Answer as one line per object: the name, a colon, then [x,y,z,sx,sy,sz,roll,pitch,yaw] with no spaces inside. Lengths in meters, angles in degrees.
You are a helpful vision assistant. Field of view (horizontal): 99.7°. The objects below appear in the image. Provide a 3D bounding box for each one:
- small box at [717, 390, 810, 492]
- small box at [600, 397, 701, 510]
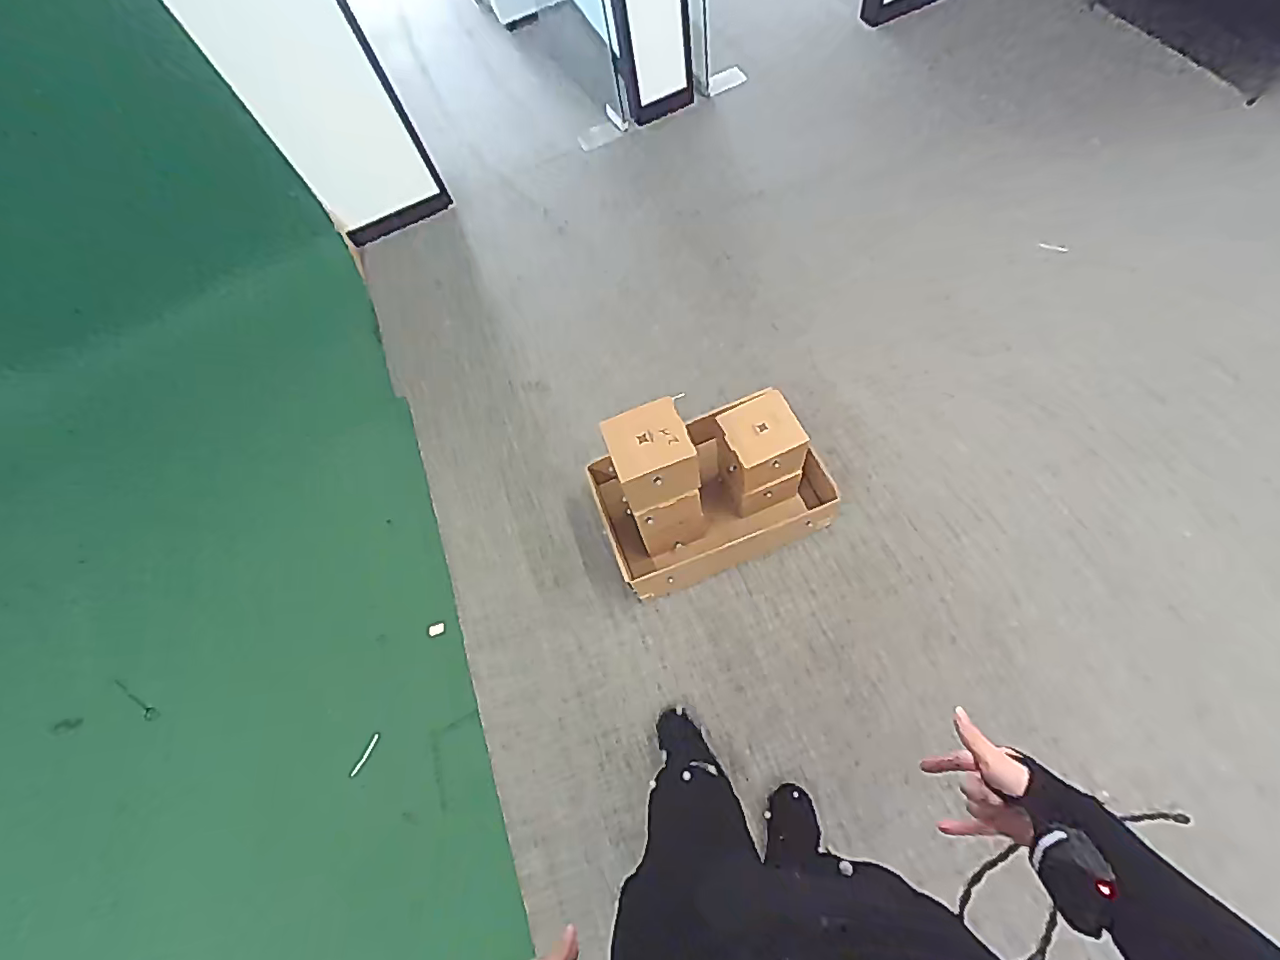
small box: [0.312,-0.093,1.389,0.179,0.176,0.168,-24,65,-1]
small box: [0.029,-0.053,1.234,0.179,0.176,0.168,-21,63,-1]
